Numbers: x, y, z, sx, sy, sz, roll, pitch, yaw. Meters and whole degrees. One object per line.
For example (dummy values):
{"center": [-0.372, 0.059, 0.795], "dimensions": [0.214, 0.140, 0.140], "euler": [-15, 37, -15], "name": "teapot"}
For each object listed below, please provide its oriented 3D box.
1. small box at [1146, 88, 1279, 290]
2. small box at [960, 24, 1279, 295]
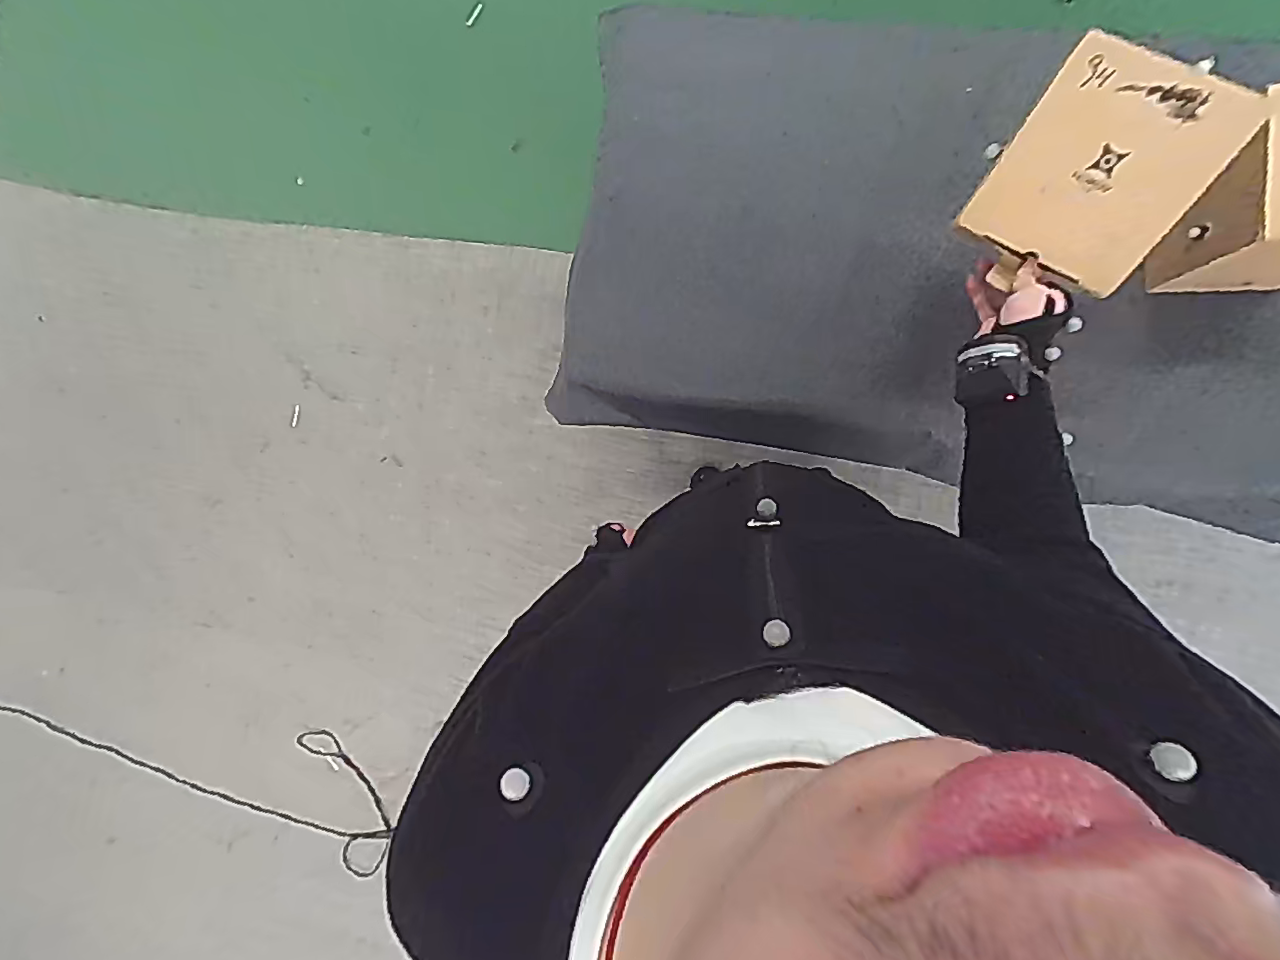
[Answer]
{"center": [0.782, -0.347, 0.673], "dimensions": [0.168, 0.176, 0.179], "euler": [1, 88, 6], "name": "small box"}
{"center": [0.472, -0.319, 0.568], "dimensions": [0.168, 0.176, 0.179], "euler": [35, 124, 12], "name": "small box"}
